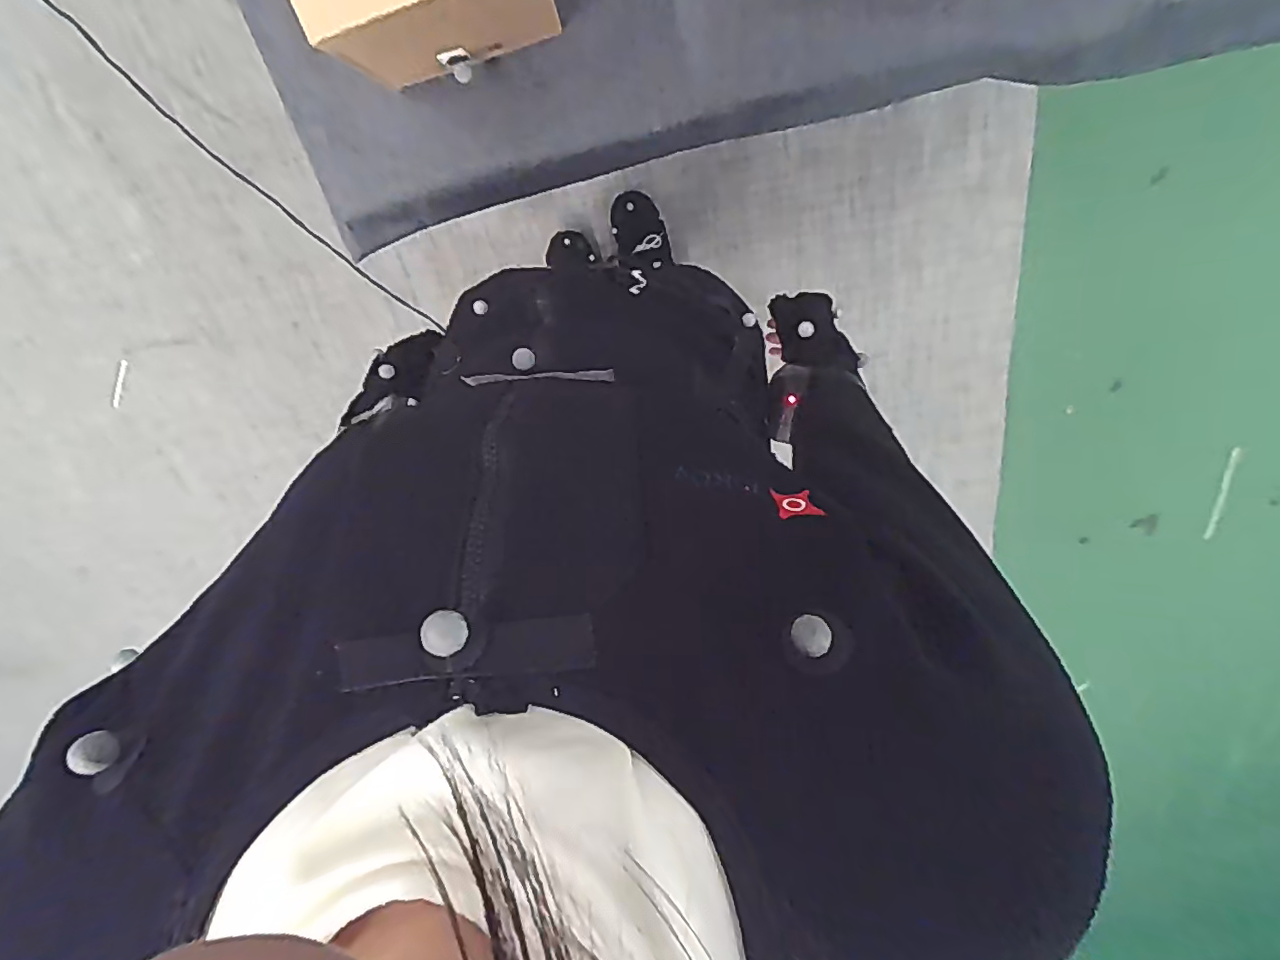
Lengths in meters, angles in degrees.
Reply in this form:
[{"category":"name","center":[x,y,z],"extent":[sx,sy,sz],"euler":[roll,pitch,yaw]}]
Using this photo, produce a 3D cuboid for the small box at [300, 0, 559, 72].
[{"category":"small box","center":[-0.169,-0.436,0.389],"extent":[0.168,0.176,0.179],"euler":[-15,117,7]}]
